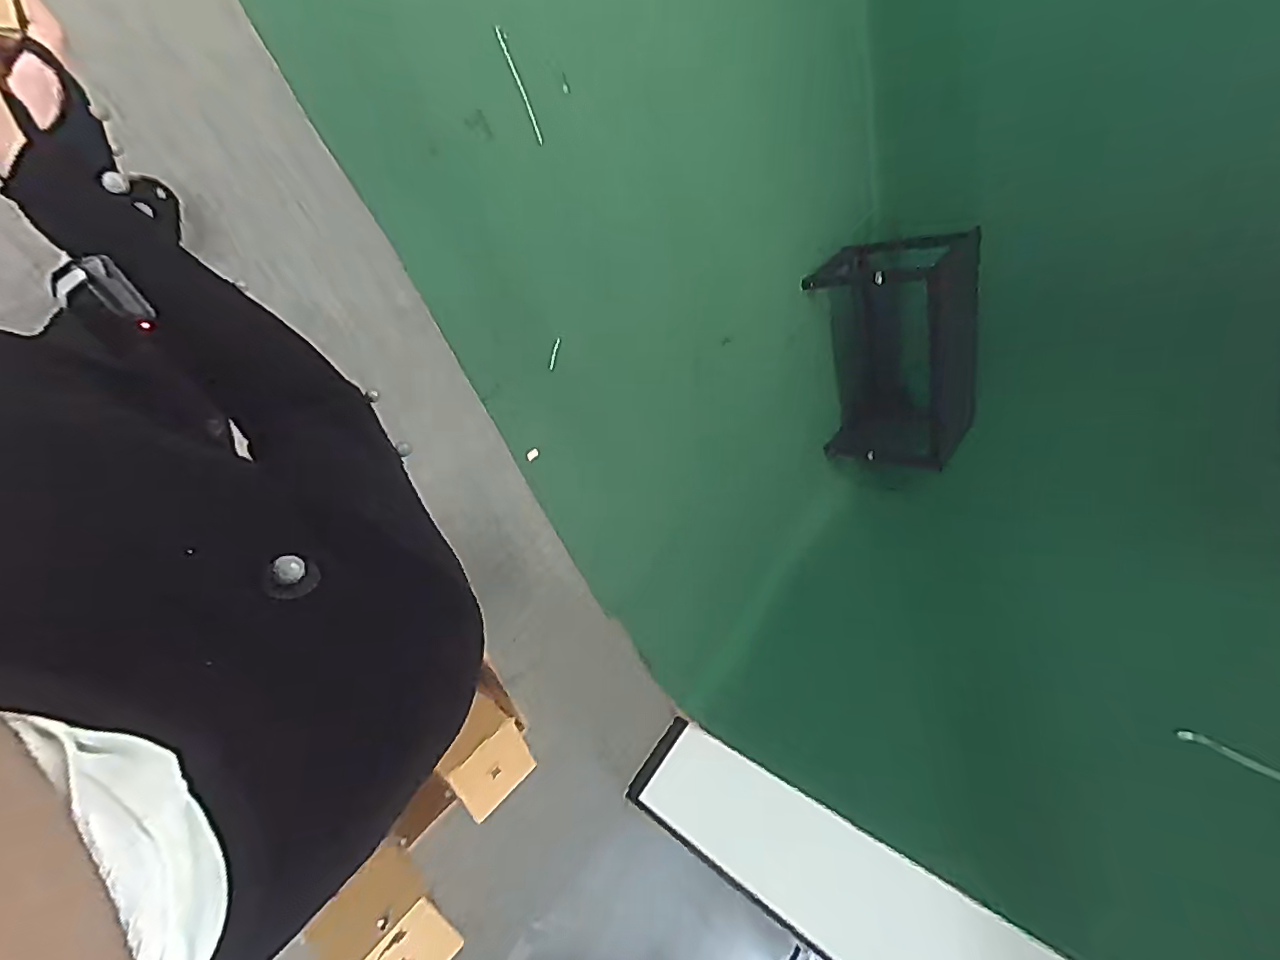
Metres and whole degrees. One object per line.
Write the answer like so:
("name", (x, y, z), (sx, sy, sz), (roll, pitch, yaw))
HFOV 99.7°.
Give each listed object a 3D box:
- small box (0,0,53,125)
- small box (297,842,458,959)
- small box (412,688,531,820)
("small box", (-0.570, -0.404, 0.389), (0.168, 0.176, 0.179), (-10, 99, -39))
("small box", (-0.460, 0.790, 0.952), (0.168, 0.176, 0.179), (-38, 126, -34))
("small box", (-0.383, 0.612, 1.228), (0.168, 0.176, 0.179), (-37, 125, -34))
